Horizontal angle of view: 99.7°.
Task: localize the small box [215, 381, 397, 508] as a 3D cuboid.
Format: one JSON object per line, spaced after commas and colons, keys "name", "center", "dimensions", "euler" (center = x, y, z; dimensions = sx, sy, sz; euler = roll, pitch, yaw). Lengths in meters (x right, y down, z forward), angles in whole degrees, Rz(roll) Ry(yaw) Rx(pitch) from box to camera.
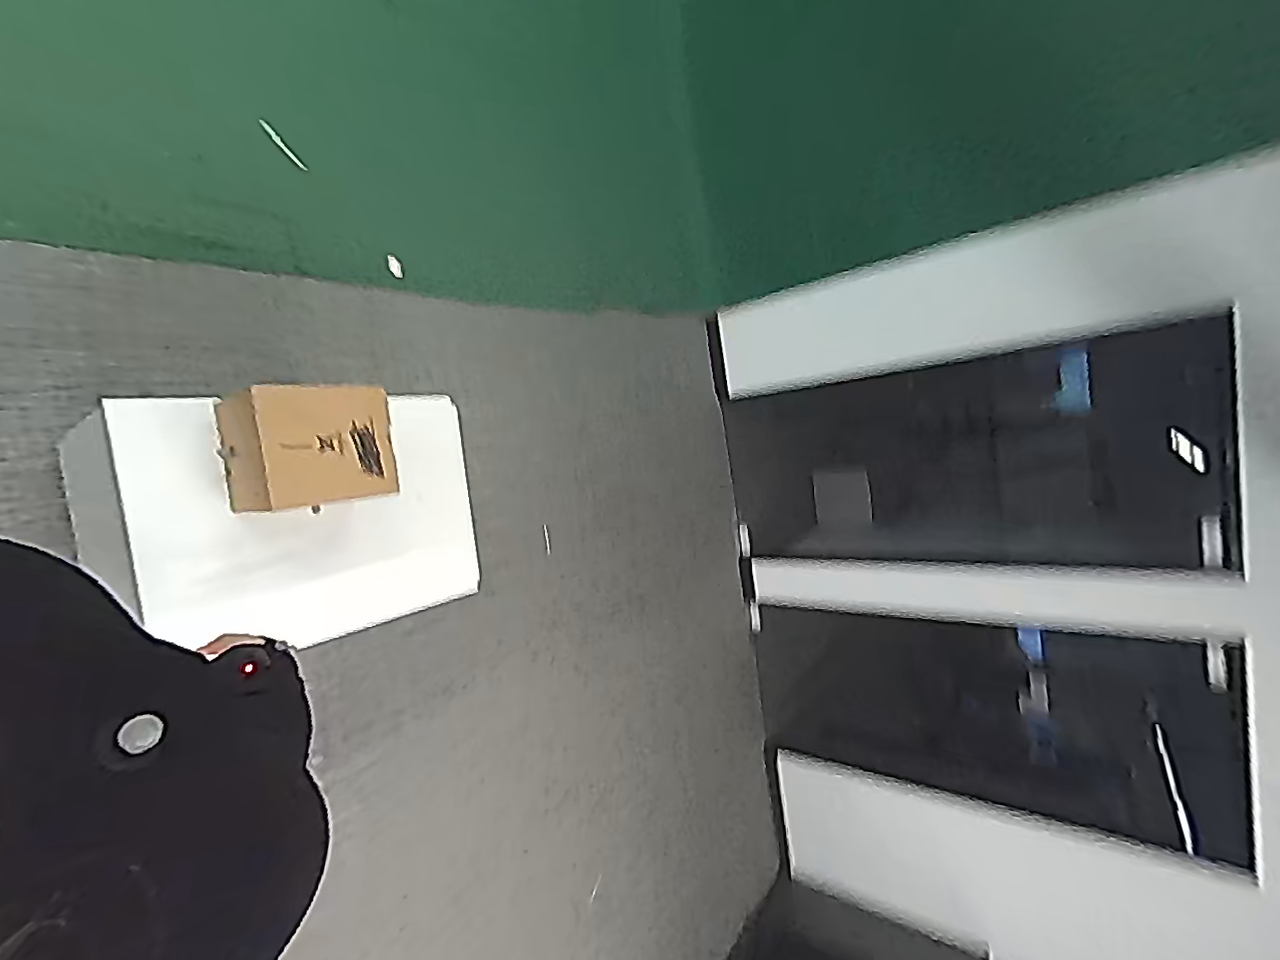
{"name": "small box", "center": [-0.495, -0.052, 0.806], "dimensions": [0.179, 0.176, 0.168], "euler": [-10, 96, -51]}
